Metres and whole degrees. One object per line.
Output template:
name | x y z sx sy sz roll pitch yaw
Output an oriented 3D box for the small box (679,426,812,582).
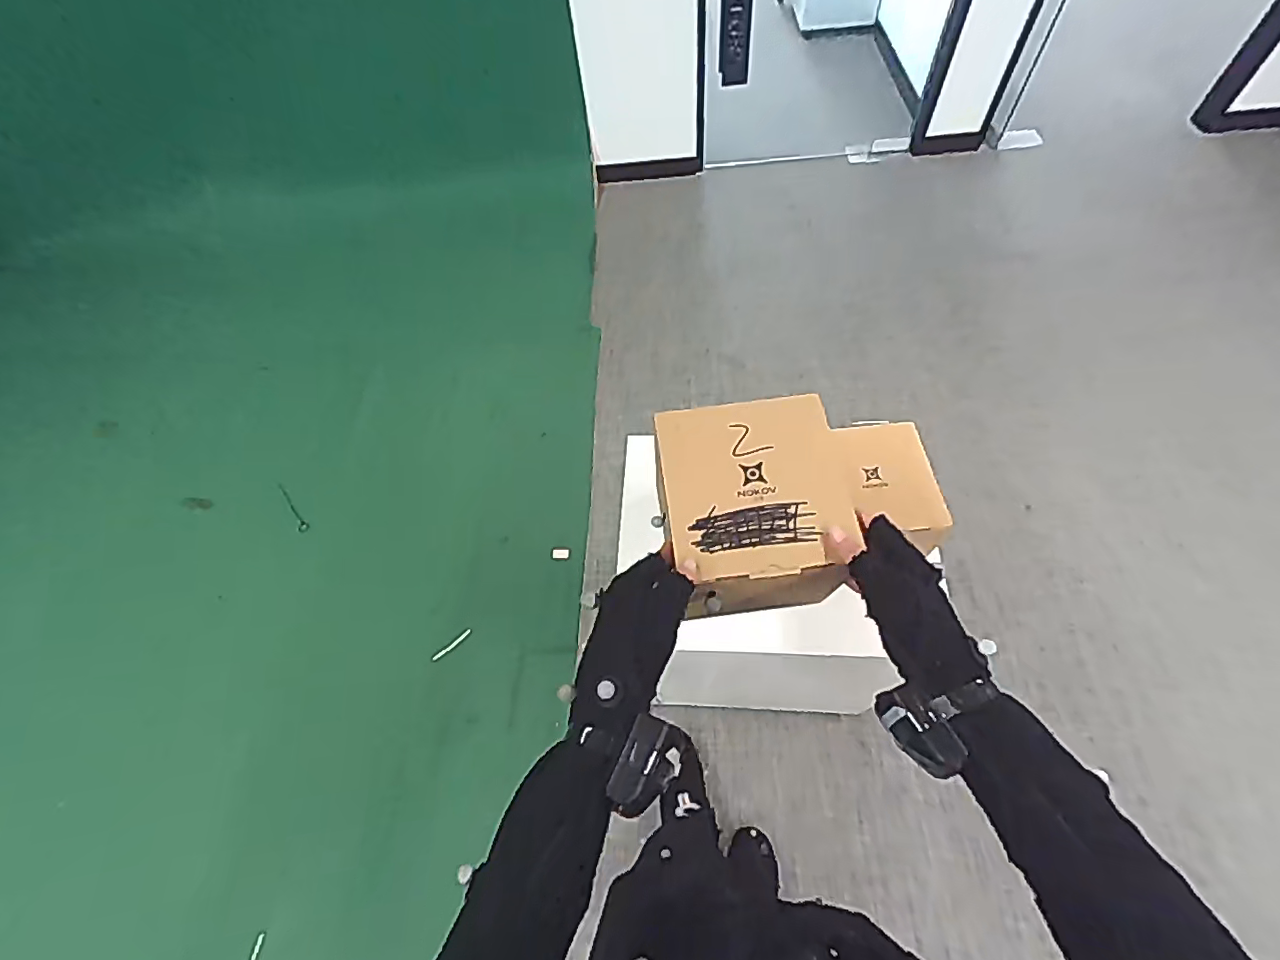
small box | 0.150 0.041 0.835 0.168 0.176 0.179 -7 59 3
